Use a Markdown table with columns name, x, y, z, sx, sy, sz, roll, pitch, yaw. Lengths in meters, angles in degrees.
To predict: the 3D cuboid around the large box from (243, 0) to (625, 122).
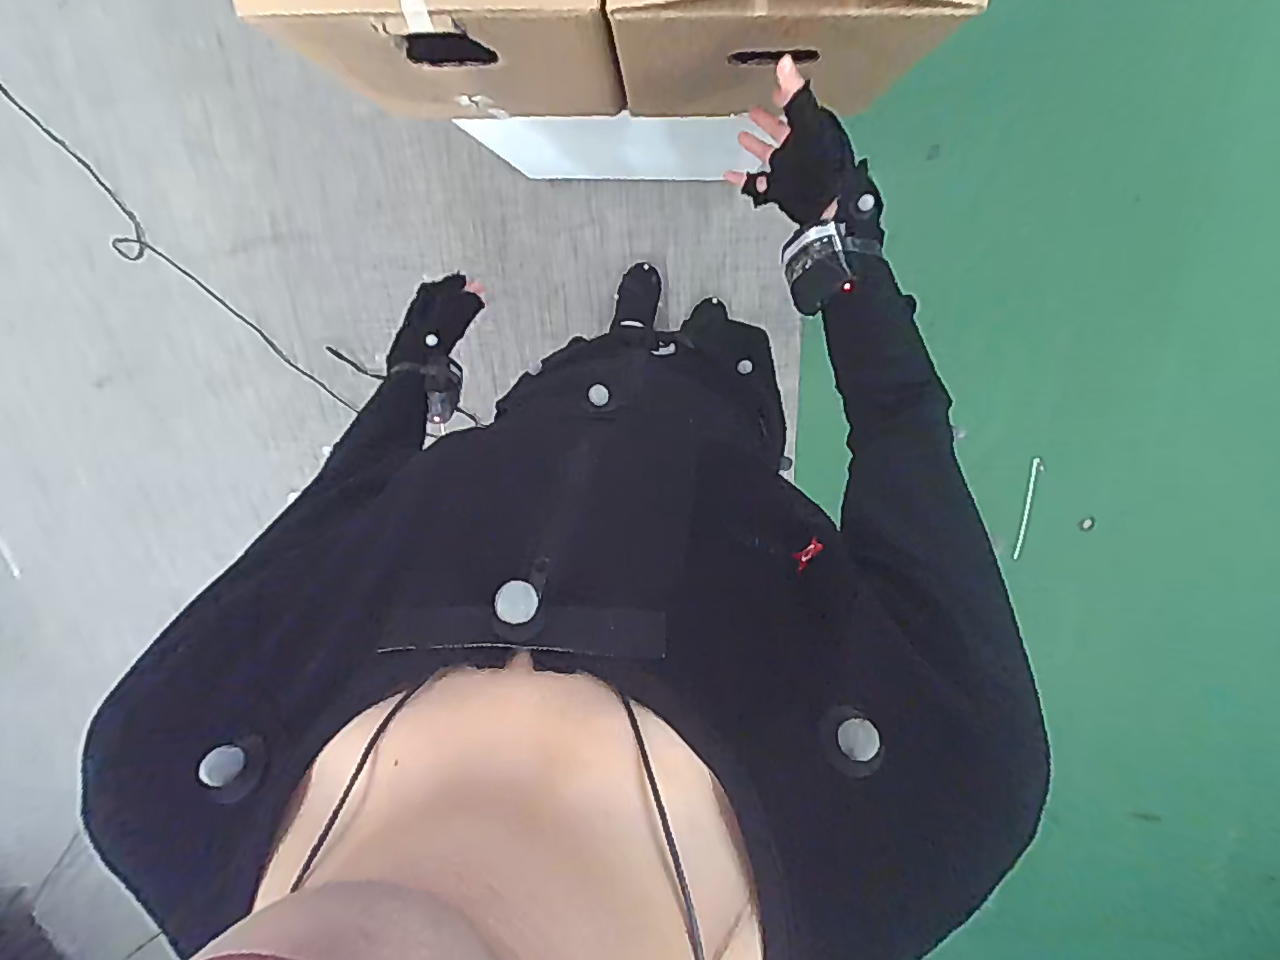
| name | x | y | z | sx | sy | sz | roll | pitch | yaw |
| --- | --- | --- | --- | --- | --- | --- | --- | --- | --- |
| large box | -0.184 | -0.633 | 0.535 | 0.320 | 0.320 | 0.408 | 1 | 109 | 2 |
